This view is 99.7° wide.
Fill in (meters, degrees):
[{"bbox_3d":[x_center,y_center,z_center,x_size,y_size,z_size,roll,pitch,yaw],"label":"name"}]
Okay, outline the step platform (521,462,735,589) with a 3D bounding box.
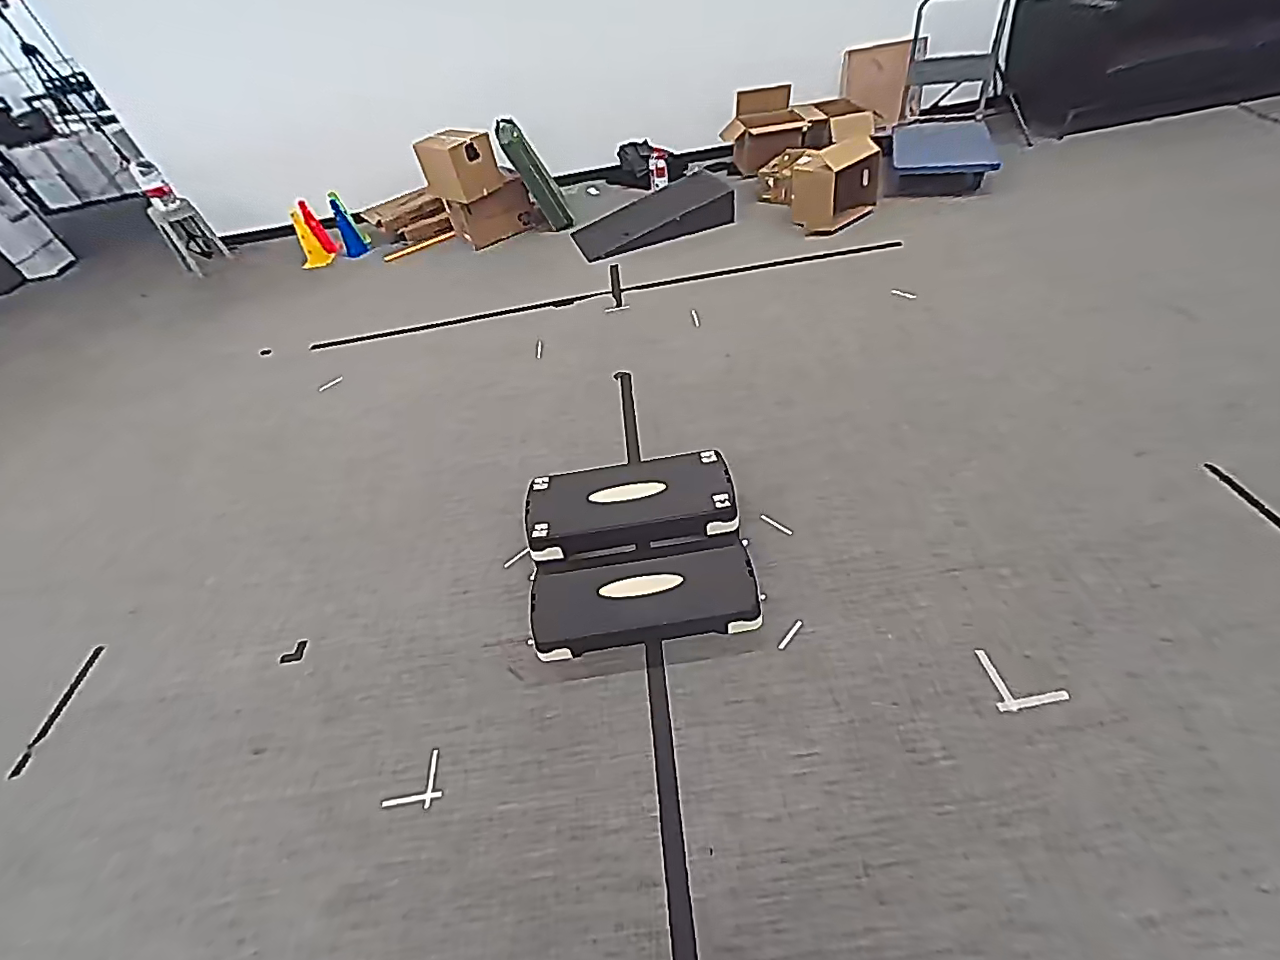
[{"bbox_3d":[-0.040,0.141,1.770,0.684,0.204,0.286,-9,46,0],"label":"step platform"}]
